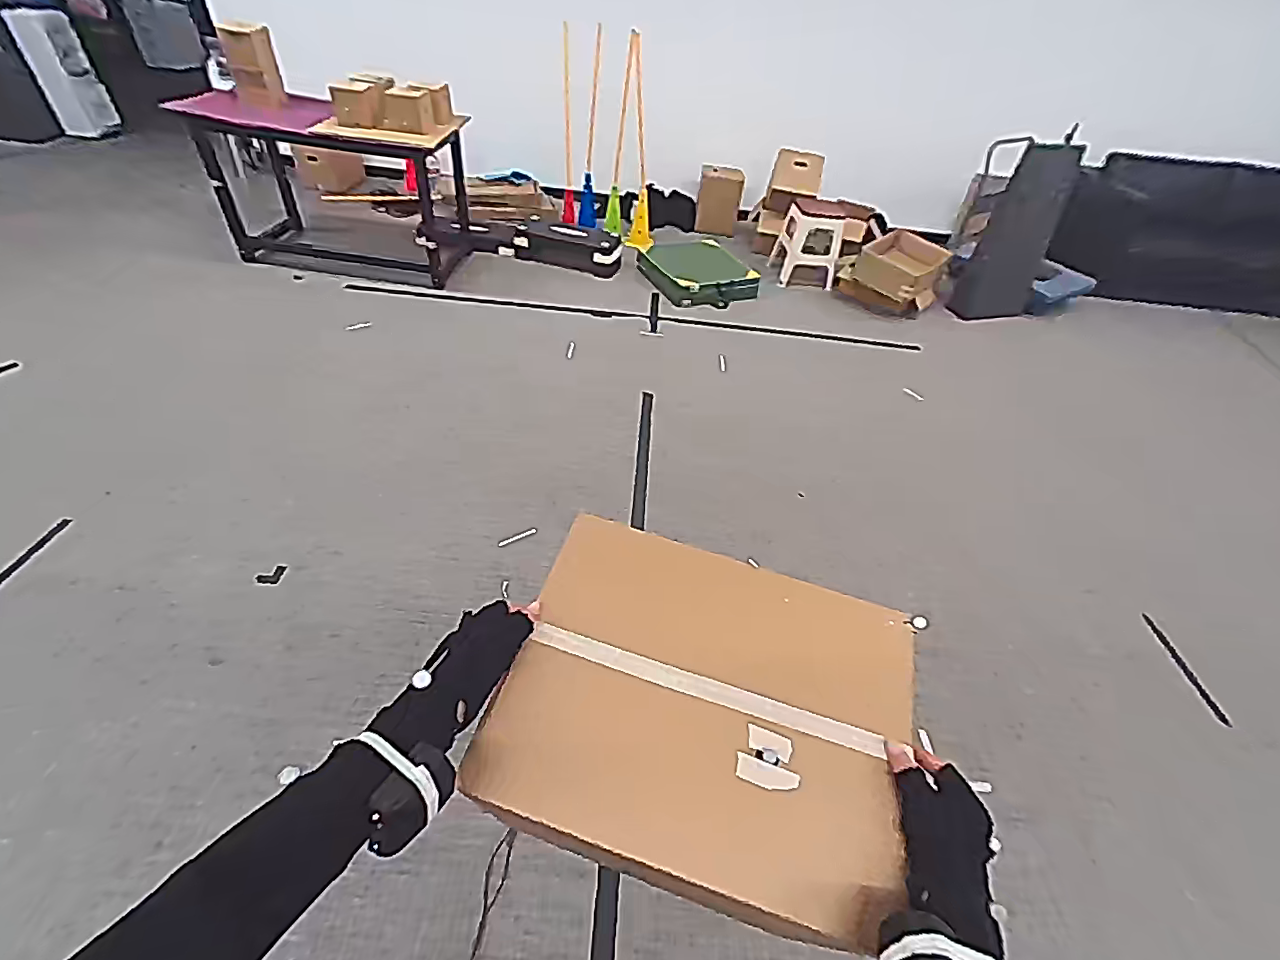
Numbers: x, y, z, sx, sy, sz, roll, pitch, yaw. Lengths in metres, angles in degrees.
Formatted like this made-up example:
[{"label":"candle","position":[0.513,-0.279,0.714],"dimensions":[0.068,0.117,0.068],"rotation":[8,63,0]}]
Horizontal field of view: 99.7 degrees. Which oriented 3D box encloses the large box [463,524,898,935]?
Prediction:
[{"label":"large box","position":[0.052,0.308,0.679],"dimensions":[0.408,0.320,0.320],"rotation":[16,53,6]}]
